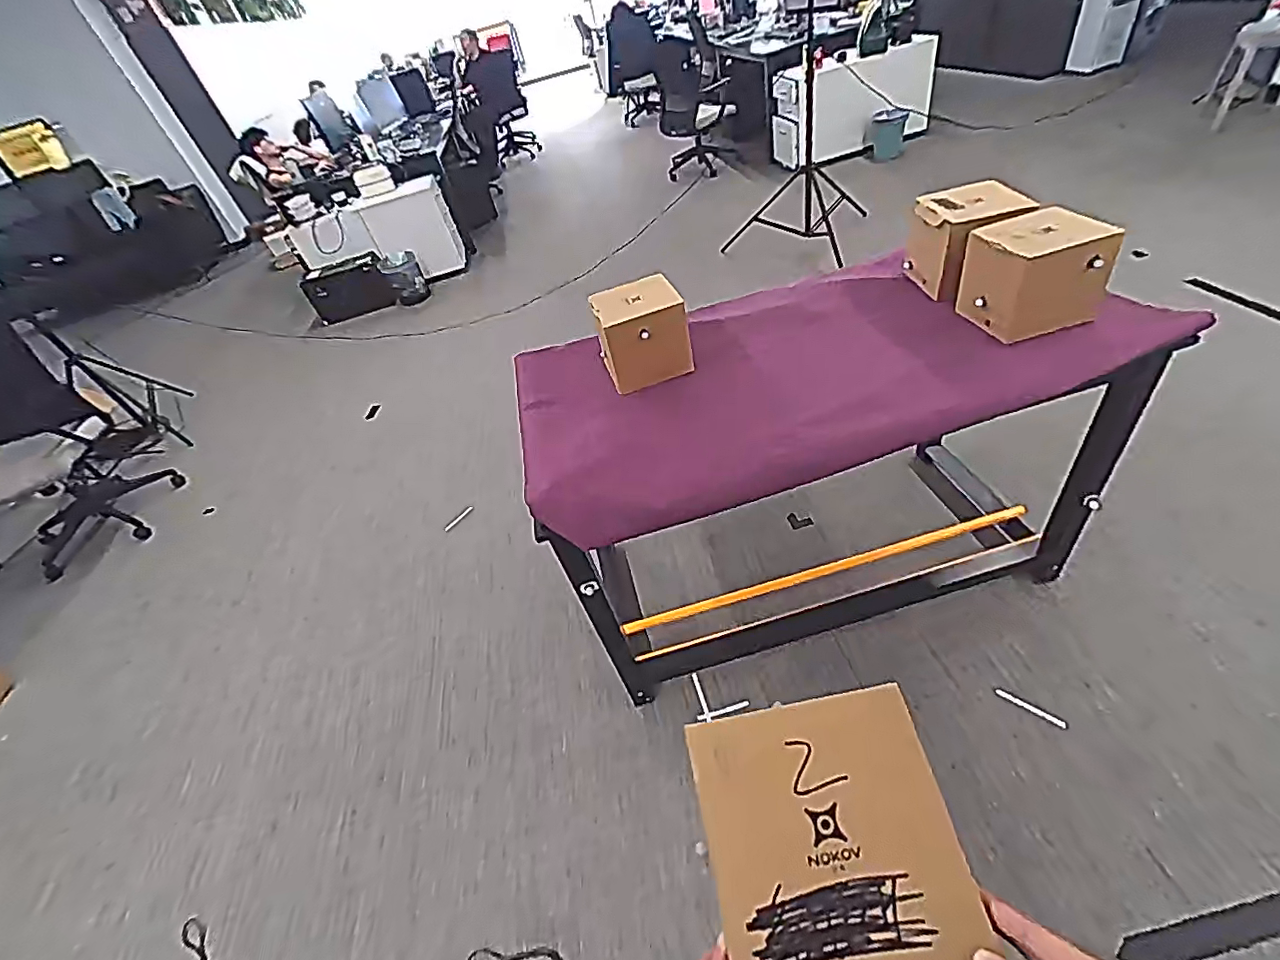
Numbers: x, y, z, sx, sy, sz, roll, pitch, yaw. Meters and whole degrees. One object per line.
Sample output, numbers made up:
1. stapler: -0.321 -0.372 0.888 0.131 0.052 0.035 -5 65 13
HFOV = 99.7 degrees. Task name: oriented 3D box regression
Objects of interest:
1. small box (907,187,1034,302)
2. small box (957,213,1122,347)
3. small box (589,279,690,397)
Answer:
1. small box: 0.706 -0.510 1.183 0.179 0.176 0.168 -12 44 3
2. small box: 0.746 -0.381 1.036 0.179 0.176 0.168 -16 41 1
3. small box: 0.004 -0.312 1.192 0.179 0.176 0.168 -19 43 -3
